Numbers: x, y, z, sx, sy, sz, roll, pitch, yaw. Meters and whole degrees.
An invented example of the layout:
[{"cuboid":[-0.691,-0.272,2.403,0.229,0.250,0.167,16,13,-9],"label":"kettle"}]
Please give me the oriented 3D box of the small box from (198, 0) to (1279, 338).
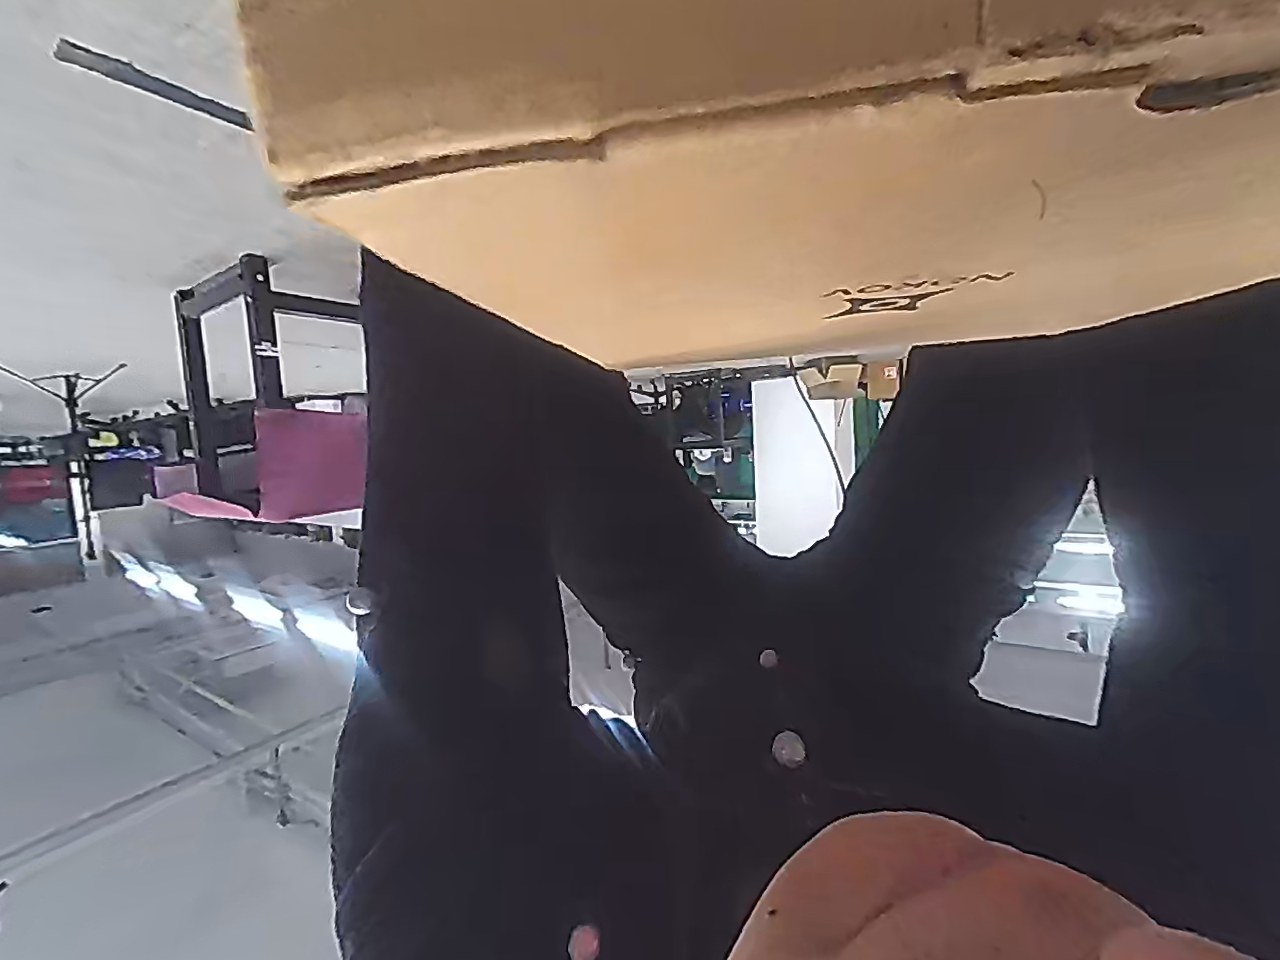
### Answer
[{"cuboid":[0.049,-0.128,0.107,0.168,0.176,0.179,-3,-173,7],"label":"small box"}]
